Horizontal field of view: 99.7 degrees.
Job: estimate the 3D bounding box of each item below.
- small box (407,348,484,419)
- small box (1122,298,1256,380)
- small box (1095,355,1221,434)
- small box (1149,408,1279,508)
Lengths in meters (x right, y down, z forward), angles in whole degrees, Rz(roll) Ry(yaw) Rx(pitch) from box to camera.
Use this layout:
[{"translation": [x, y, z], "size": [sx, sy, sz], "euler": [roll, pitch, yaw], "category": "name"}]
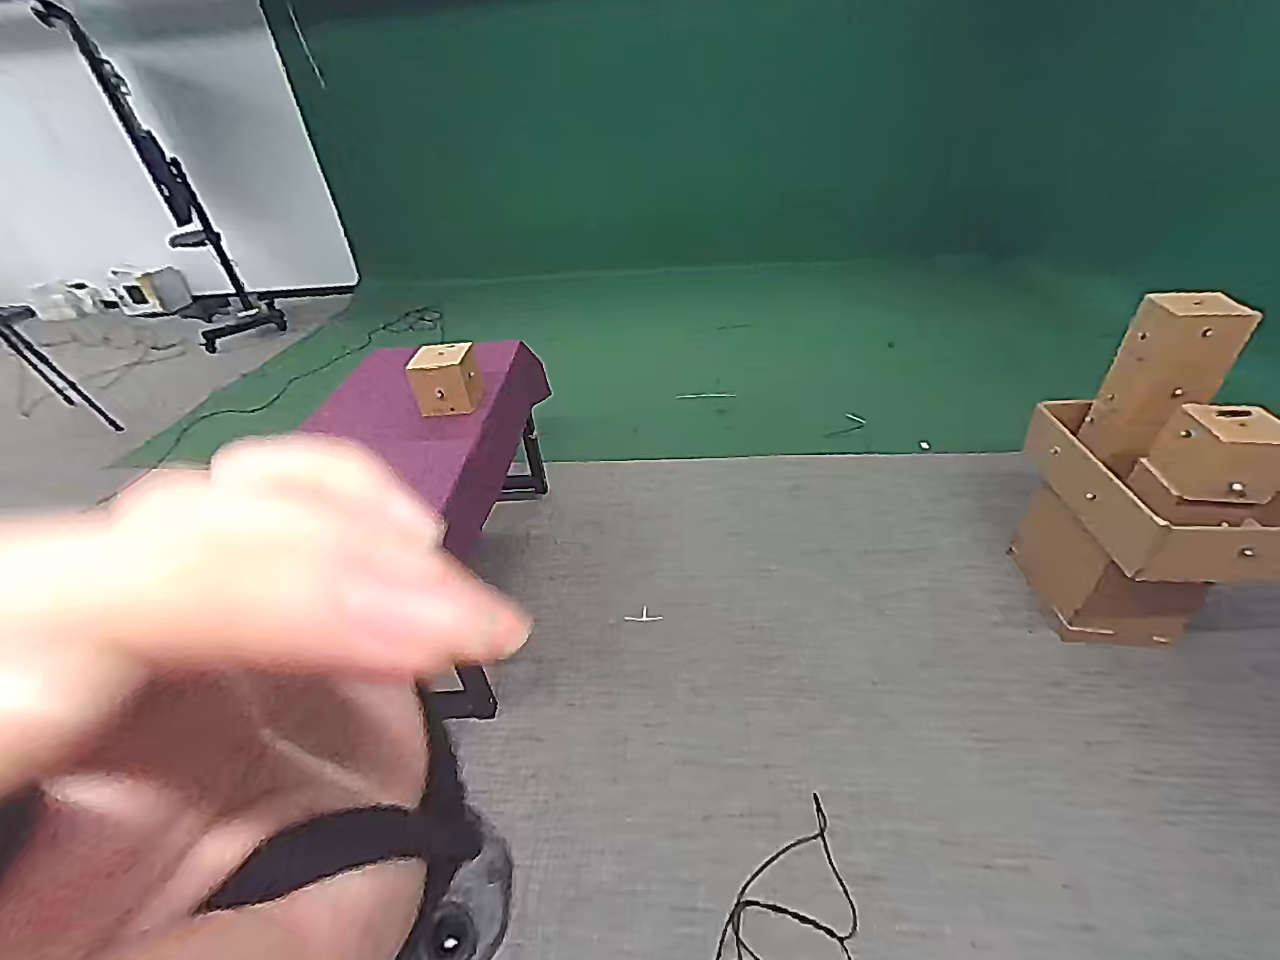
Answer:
[{"translation": [-0.614, -0.304, 1.732], "size": [0.168, 0.176, 0.179], "euler": [-4, 37, 2], "category": "small box"}, {"translation": [1.443, -0.376, 1.442], "size": [0.179, 0.176, 0.168], "euler": [4, 38, 11], "category": "small box"}, {"translation": [1.457, -0.241, 1.536], "size": [0.179, 0.176, 0.168], "euler": [3, 37, 11], "category": "small box"}, {"translation": [1.384, -0.056, 1.290], "size": [0.168, 0.176, 0.179], "euler": [3, 37, 12], "category": "small box"}]
